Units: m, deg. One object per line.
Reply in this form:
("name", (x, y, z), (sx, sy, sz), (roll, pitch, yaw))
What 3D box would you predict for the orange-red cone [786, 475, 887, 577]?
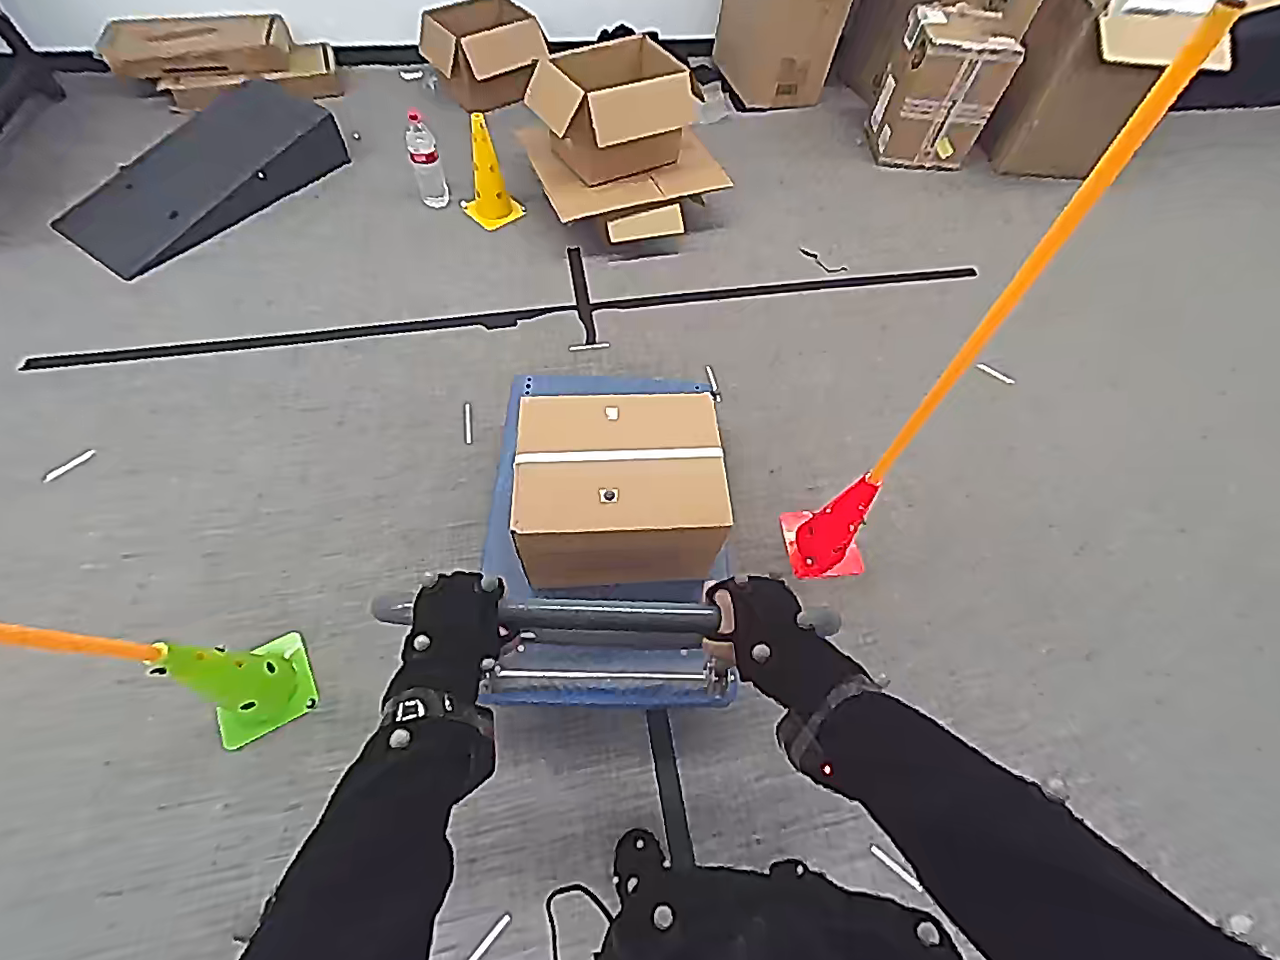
("orange-red cone", (0.528, 0.090, 1.365), (0.199, 0.360, 0.198), (-1, 60, -6))
